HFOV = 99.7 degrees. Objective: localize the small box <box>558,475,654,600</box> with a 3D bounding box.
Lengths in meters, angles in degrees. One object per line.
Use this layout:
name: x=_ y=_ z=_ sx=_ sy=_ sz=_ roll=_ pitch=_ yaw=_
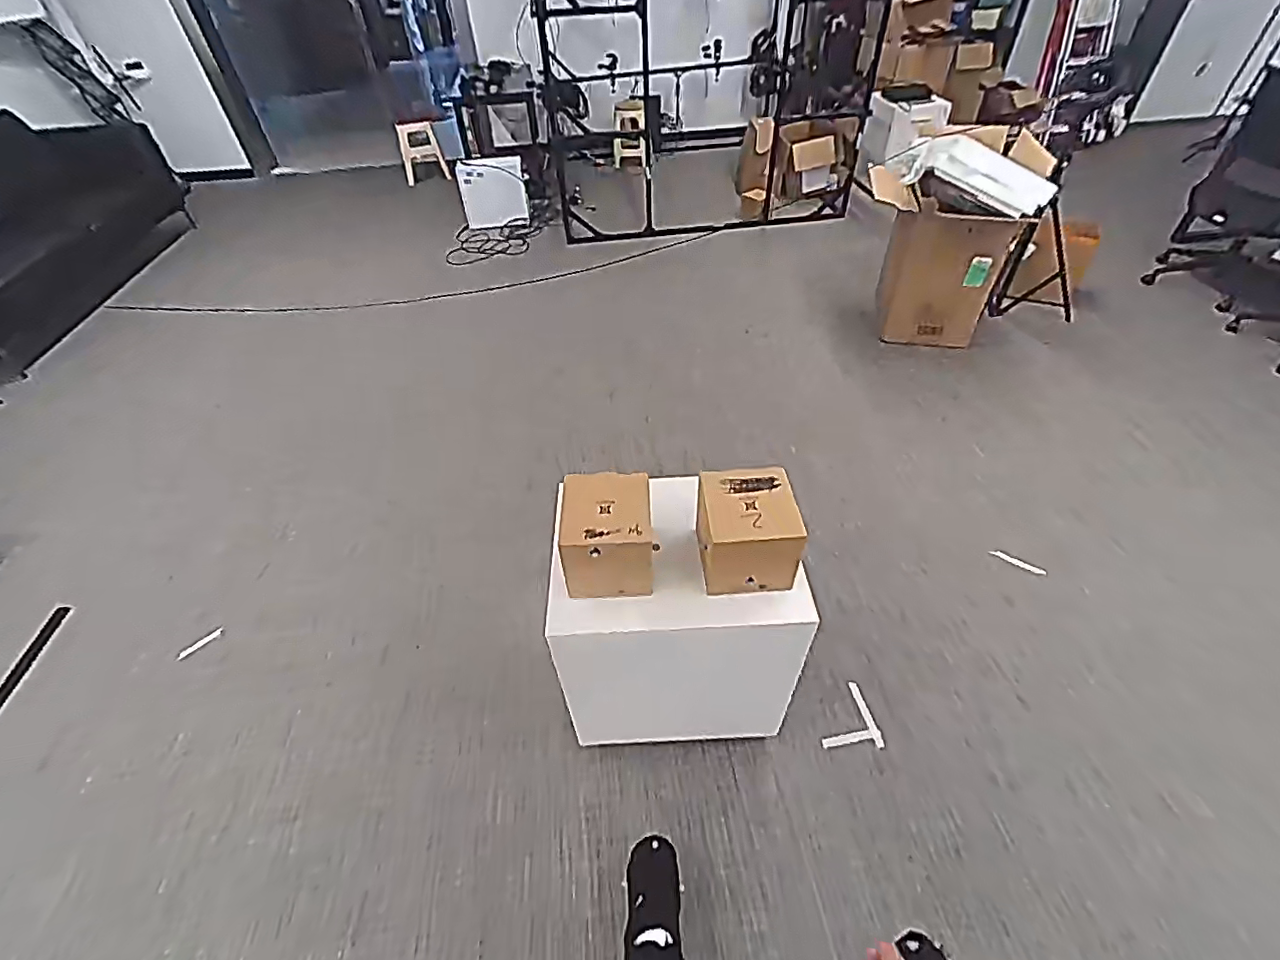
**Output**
small box: x=-0.059 y=0.111 z=1.042 sx=0.168 sy=0.176 sz=0.179 roll=-3 pitch=44 yaw=1
